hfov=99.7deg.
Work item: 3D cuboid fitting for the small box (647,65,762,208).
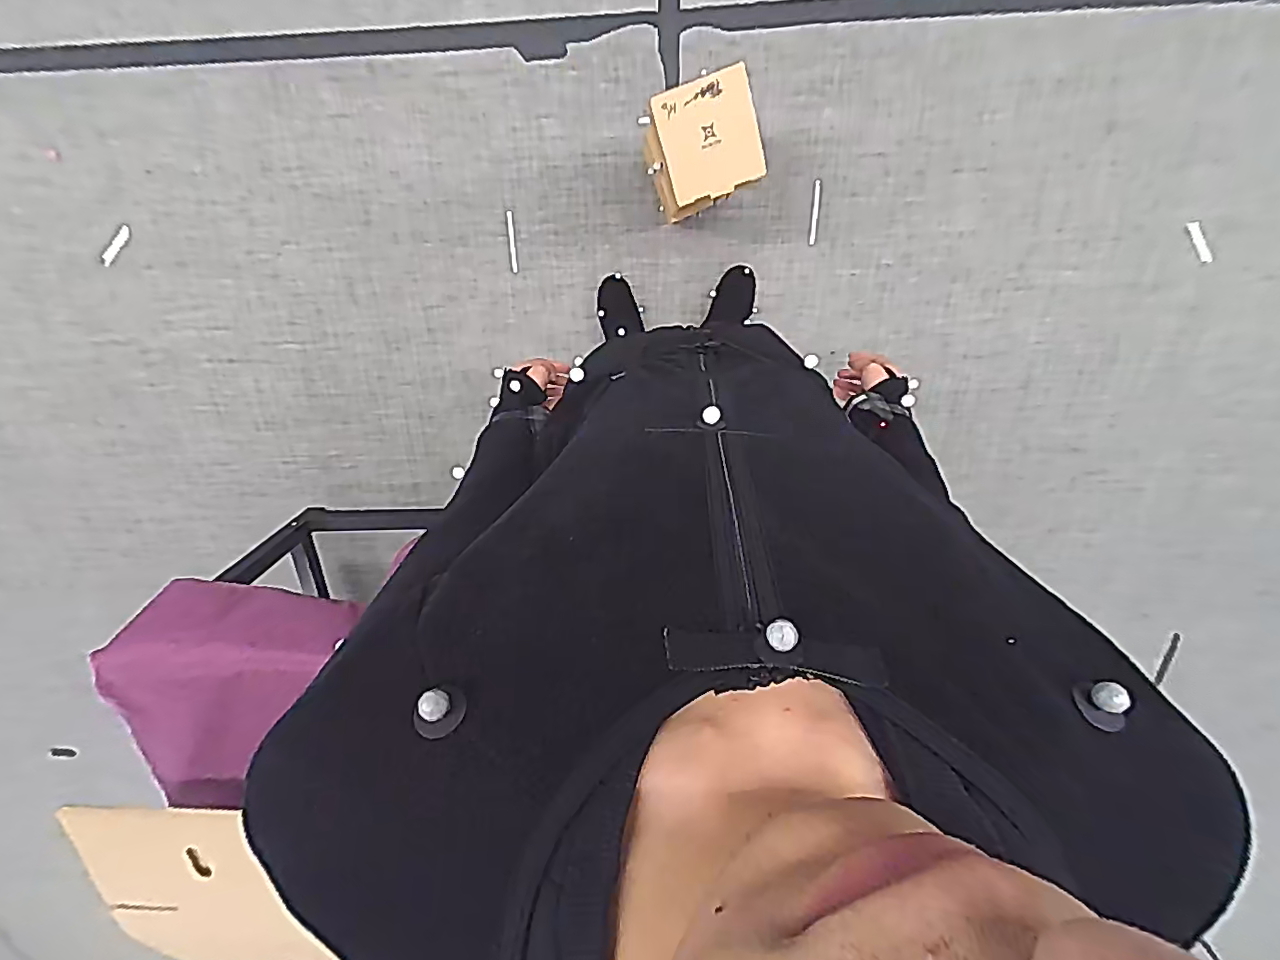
[{"bbox_3d":[0.117,-0.622,1.003,0.168,0.176,0.179,-16,113,7],"label":"small box"}]
